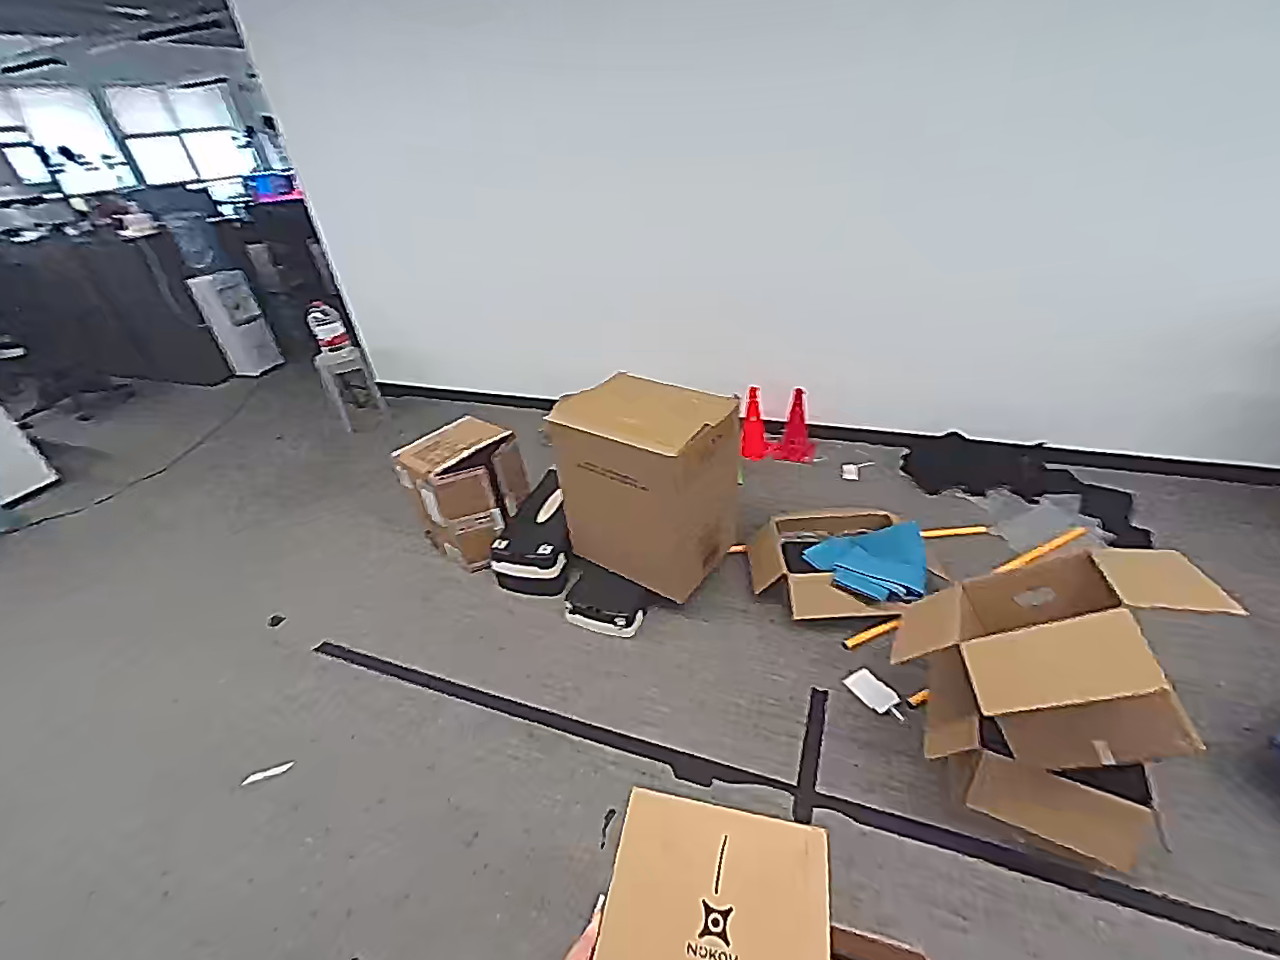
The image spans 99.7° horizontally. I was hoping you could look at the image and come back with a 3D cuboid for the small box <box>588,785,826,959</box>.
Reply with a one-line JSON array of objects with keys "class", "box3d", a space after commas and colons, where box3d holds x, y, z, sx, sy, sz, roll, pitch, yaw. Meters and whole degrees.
[{"class": "small box", "box3d": [0.057, 0.388, 0.440, 0.168, 0.176, 0.179, 5, 40, 13]}]
